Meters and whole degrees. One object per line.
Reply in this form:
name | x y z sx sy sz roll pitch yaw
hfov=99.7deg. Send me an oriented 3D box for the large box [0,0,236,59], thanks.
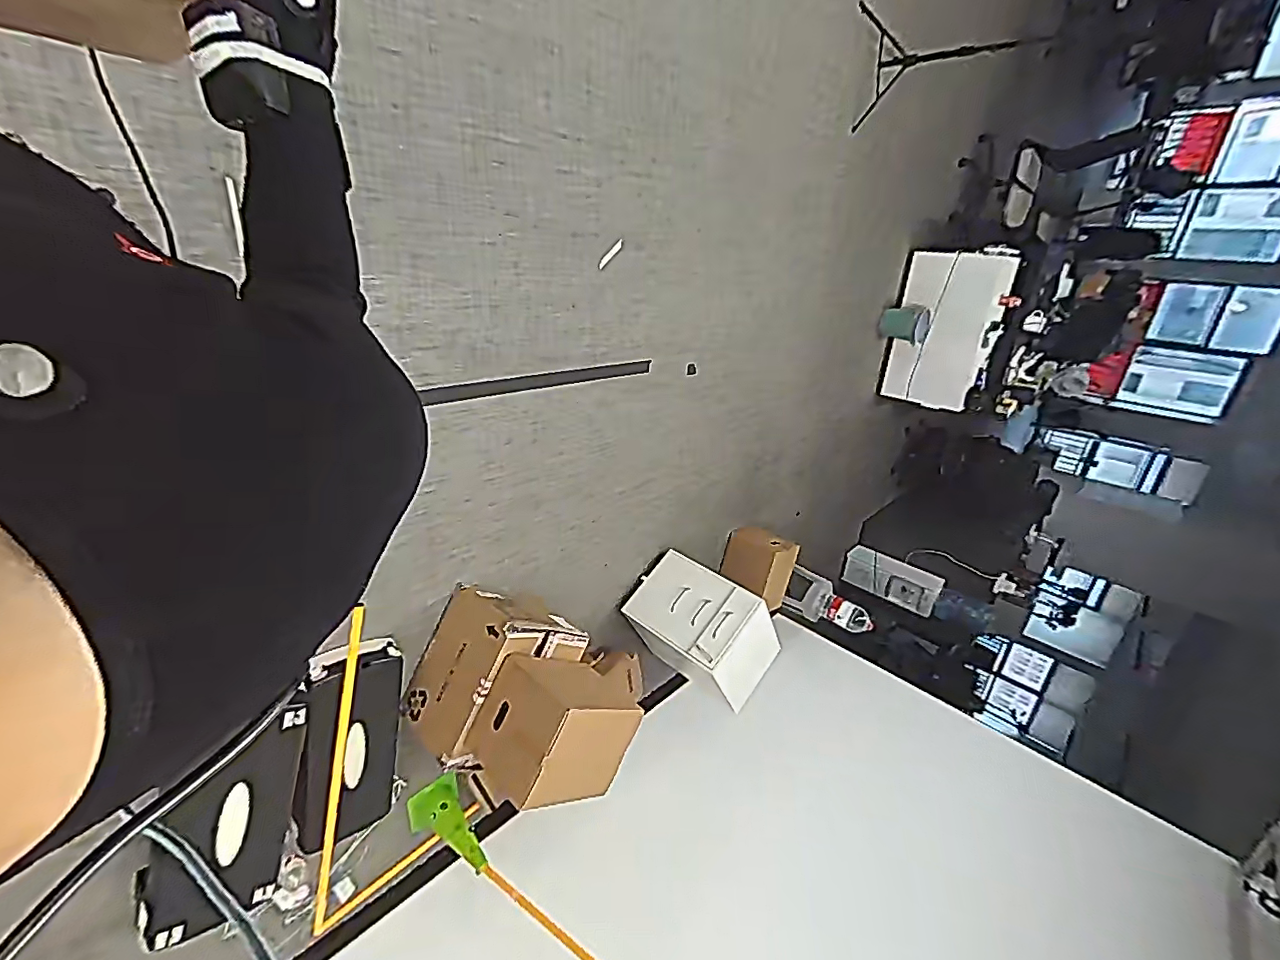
large box | -0.521 -0.485 0.288 0.408 0.320 0.320 -18 124 -43
